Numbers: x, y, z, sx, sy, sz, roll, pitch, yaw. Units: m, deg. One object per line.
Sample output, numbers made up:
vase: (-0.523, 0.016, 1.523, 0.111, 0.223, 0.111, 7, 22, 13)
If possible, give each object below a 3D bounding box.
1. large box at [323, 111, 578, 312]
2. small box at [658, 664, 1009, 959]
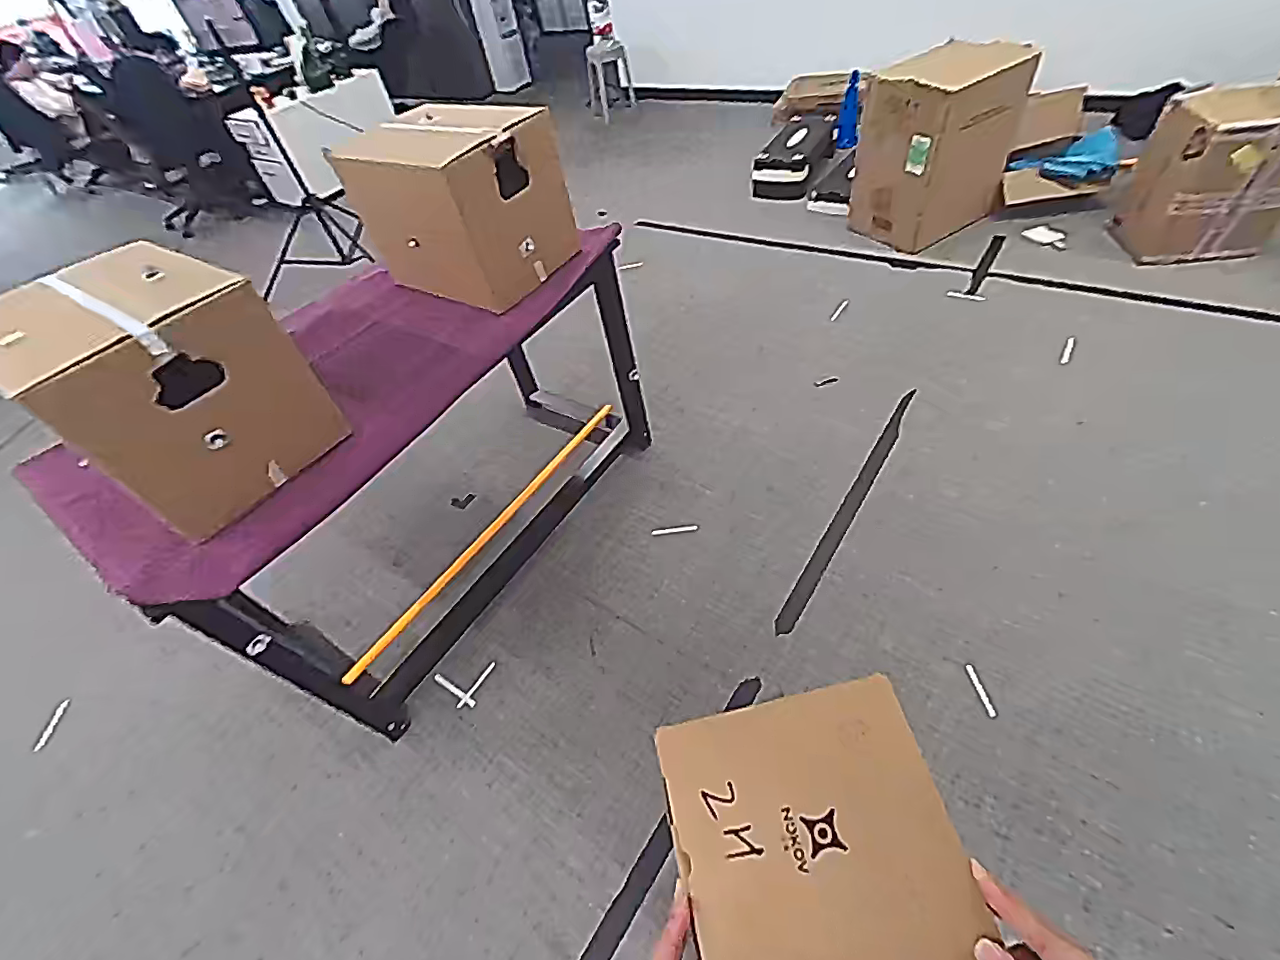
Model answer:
large box: (-0.417, -0.630, 1.260, 0.408, 0.320, 0.320, 21, 56, 28)
small box: (0.123, 0.257, 0.413, 0.179, 0.176, 0.168, -15, 57, 3)
